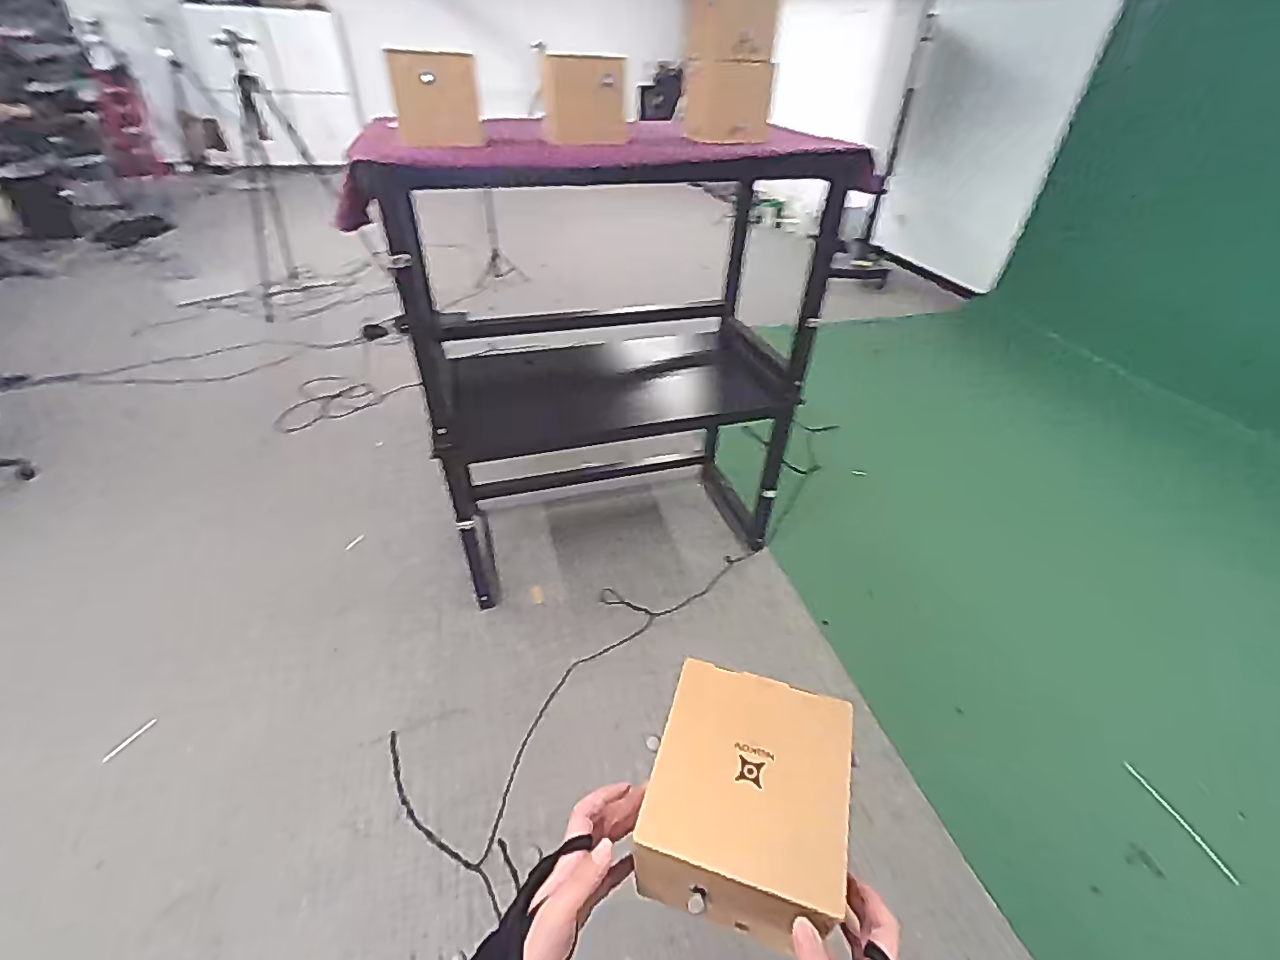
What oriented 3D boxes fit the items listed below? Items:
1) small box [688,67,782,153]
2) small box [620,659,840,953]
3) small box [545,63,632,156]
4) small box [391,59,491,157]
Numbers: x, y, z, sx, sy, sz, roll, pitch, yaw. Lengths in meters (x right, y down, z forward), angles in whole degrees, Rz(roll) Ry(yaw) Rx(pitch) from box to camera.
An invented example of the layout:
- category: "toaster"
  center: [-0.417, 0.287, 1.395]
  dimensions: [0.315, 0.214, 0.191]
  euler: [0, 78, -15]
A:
- category: "small box"
  center: [0.233, -0.940, 1.376]
  dimensions: [0.179, 0.176, 0.168]
  euler: [-10, 38, -15]
- category: "small box"
  center: [0.090, 0.312, 0.525]
  dimensions: [0.168, 0.176, 0.179]
  euler: [10, 41, 15]
- category: "small box"
  center: [-0.124, -0.881, 1.286]
  dimensions: [0.179, 0.176, 0.168]
  euler: [-9, 39, -14]
- category: "small box"
  center: [-0.437, -0.820, 1.195]
  dimensions: [0.179, 0.176, 0.168]
  euler: [-11, 40, -17]
